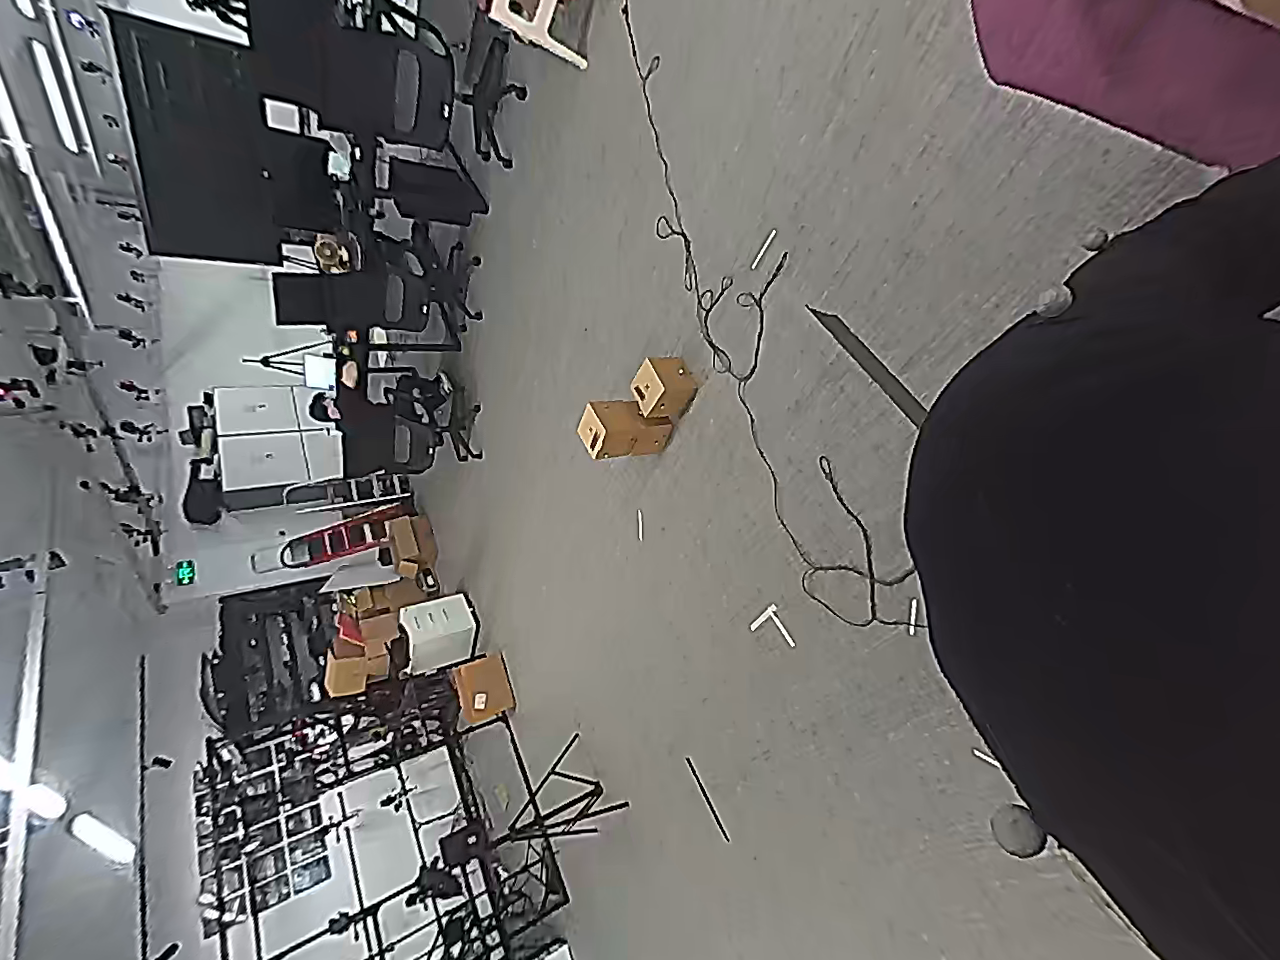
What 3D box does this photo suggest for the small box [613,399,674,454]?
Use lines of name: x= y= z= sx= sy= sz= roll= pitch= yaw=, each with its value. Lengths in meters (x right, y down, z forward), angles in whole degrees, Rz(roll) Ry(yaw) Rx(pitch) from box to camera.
small box: x=0.016 y=-0.230 z=2.306 sx=0.179 sy=0.176 sz=0.168 roll=55 pitch=139 yaw=32

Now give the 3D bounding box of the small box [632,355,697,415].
small box: x=0.098 y=-0.375 z=2.142 sx=0.179 sy=0.176 sz=0.168 roll=-53 pitch=55 yaw=47
